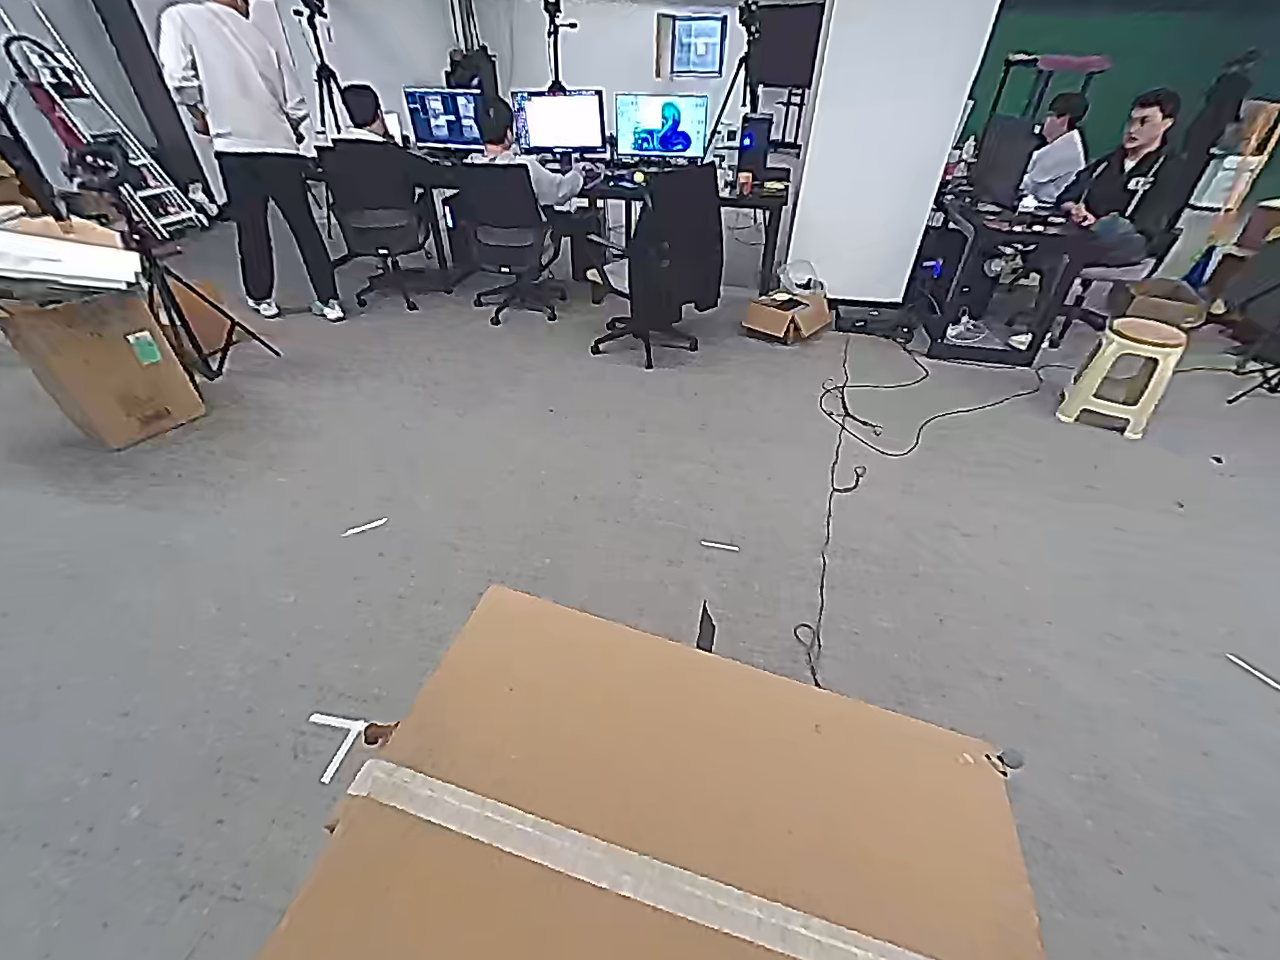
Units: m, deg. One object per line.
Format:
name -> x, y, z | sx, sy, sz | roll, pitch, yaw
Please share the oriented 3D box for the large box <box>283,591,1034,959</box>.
large box -> 0.010, 0.348, 0.417 | 0.408, 0.320, 0.320 | 17, 42, 6
